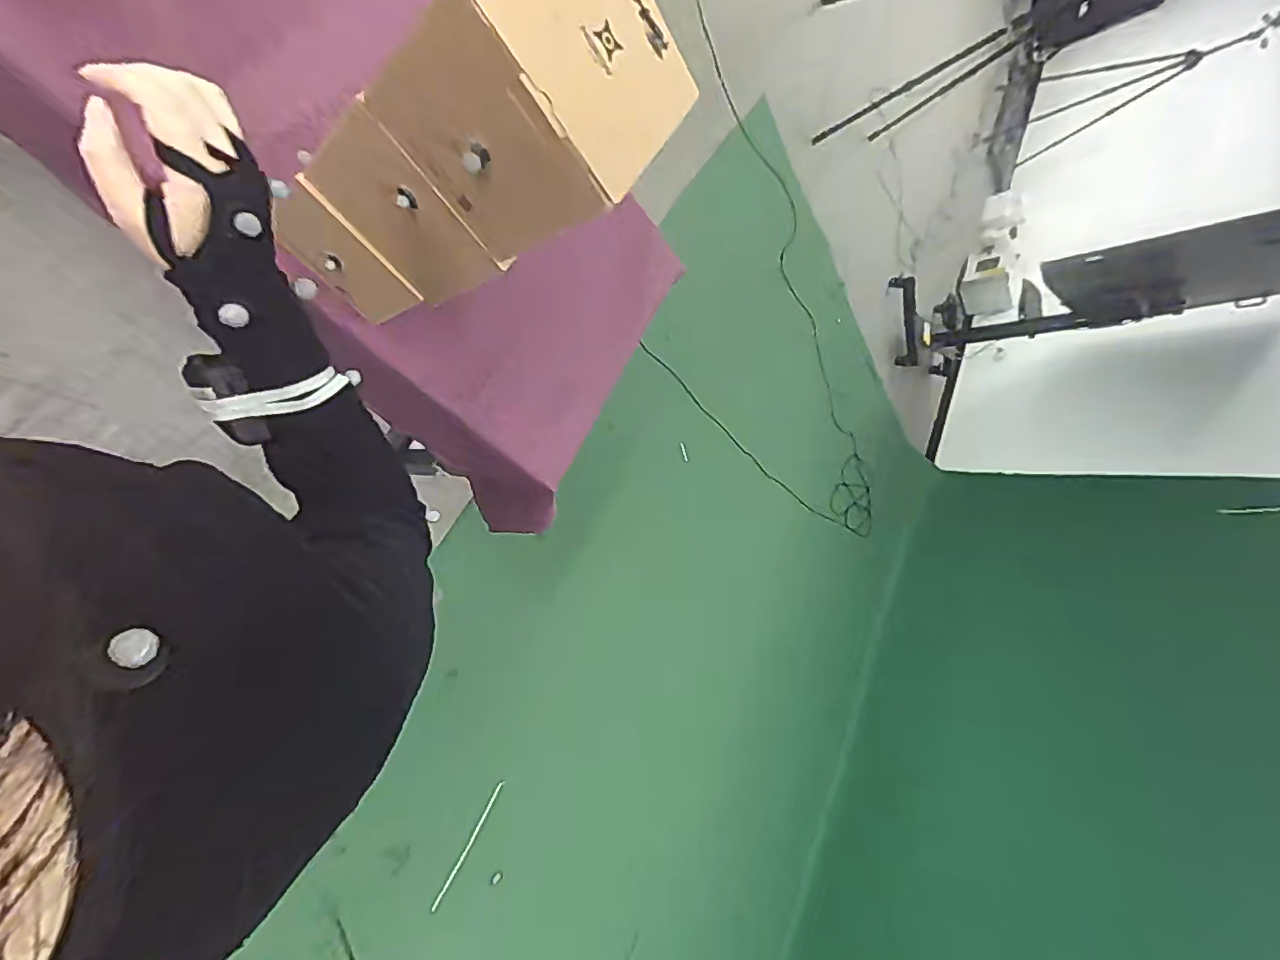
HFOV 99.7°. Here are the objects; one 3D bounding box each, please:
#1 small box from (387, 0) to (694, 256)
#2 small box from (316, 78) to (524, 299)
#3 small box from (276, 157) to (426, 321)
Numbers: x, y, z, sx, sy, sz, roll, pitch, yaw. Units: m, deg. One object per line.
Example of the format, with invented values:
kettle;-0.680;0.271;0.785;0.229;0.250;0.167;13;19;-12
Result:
small box;-0.089;-0.328;0.471;0.168;0.176;0.179;47;61;-35
small box;-0.208;-0.325;0.586;0.179;0.176;0.168;48;60;-36
small box;-0.330;-0.331;0.696;0.168;0.176;0.179;47;60;-36
